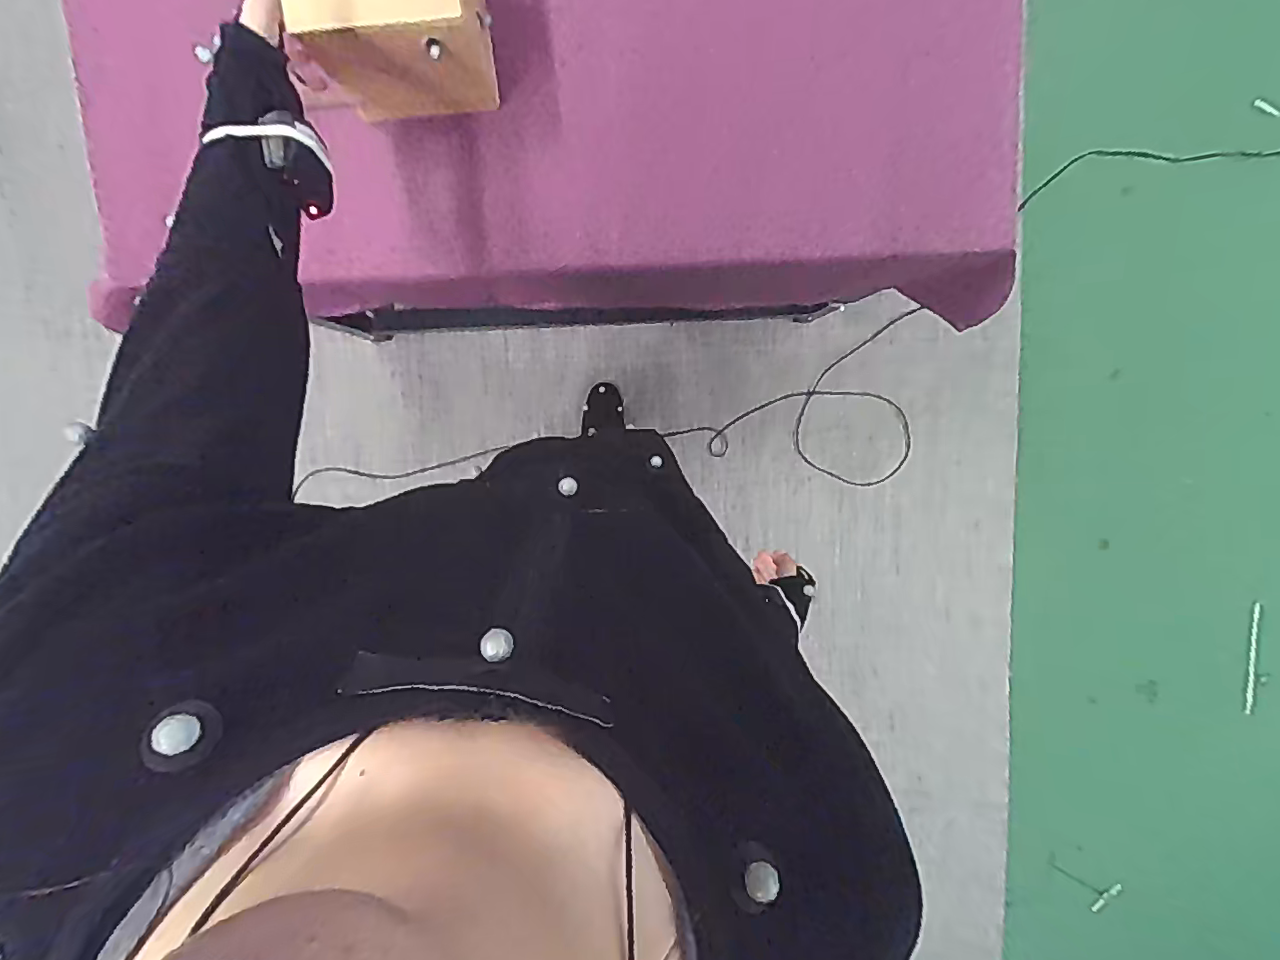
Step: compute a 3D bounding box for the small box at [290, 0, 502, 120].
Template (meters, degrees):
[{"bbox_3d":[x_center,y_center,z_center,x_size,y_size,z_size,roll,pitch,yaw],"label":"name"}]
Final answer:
[{"bbox_3d":[-0.268,-0.536,0.607,0.179,0.176,0.168,-8,98,-3],"label":"small box"}]
